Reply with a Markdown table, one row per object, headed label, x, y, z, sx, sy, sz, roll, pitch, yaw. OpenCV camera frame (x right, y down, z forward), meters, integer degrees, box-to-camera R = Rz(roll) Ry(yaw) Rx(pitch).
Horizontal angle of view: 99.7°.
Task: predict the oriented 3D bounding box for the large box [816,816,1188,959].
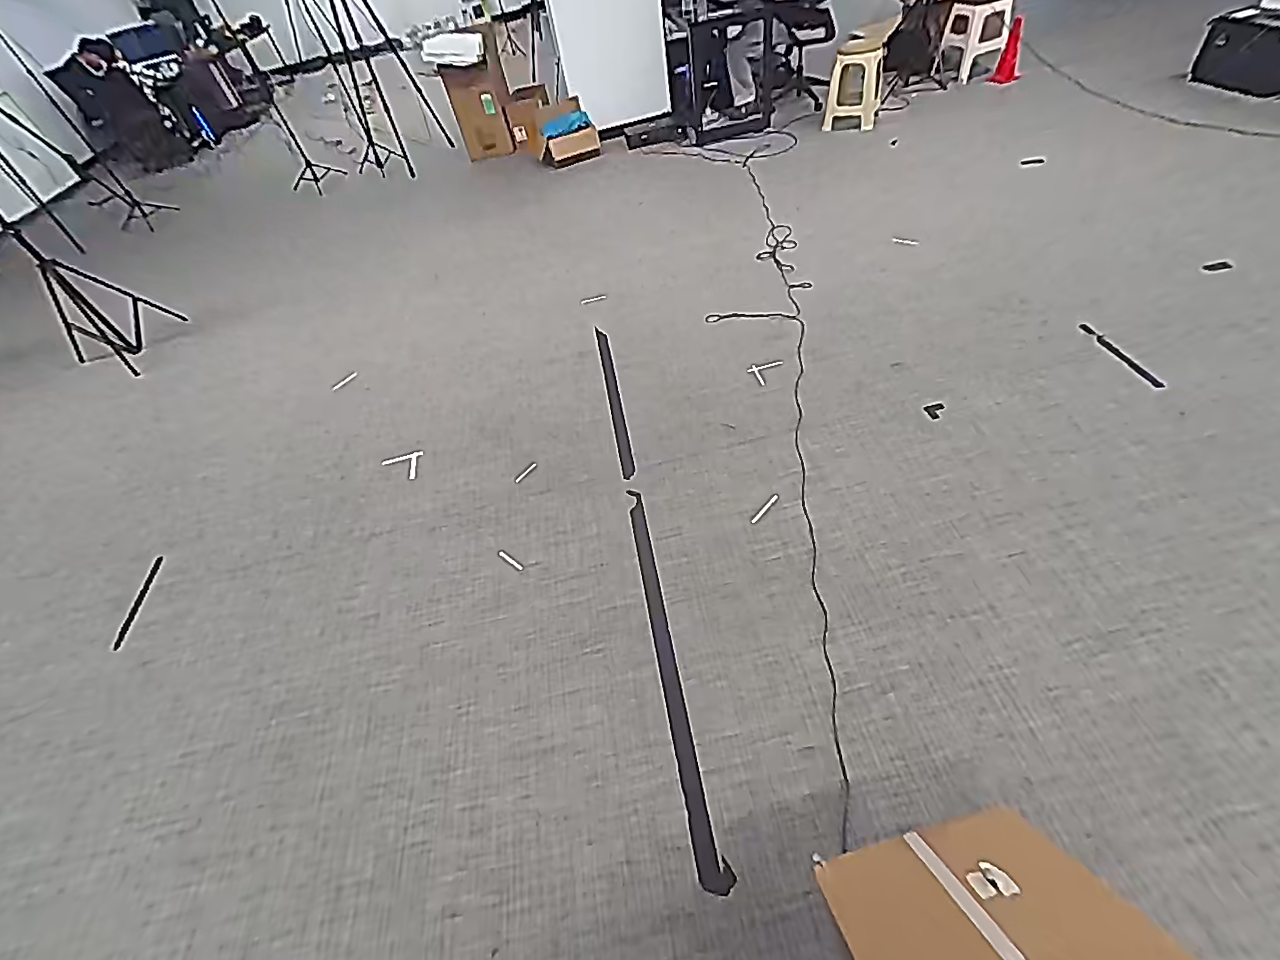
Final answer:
| label | x | y | z | sx | sy | sz | roll | pitch | yaw |
| --- | --- | --- | --- | --- | --- | --- | --- | --- | --- |
| large box | 0.457 | 0.683 | 0.617 | 0.320 | 0.408 | 0.320 | -16 | 85 | -1 |
